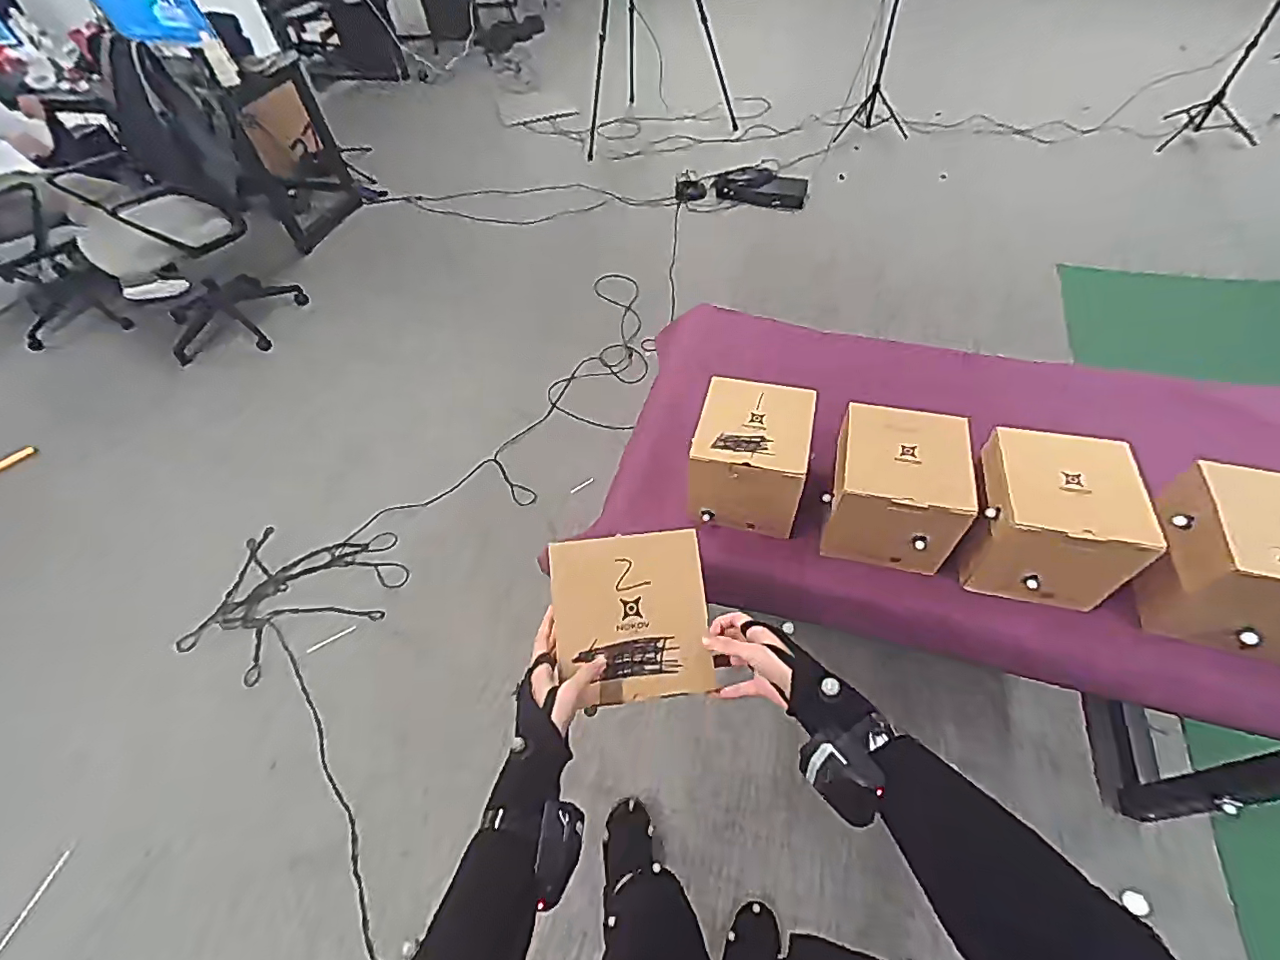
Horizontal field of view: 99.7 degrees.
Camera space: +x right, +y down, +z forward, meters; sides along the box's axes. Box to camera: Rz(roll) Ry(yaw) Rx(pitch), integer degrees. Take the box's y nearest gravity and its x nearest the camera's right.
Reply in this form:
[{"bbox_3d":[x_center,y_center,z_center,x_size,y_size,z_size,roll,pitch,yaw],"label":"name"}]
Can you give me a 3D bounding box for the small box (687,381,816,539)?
[{"bbox_3d":[0.175,-0.028,0.857,0.168,0.176,0.179,10,54,13],"label":"small box"}]
